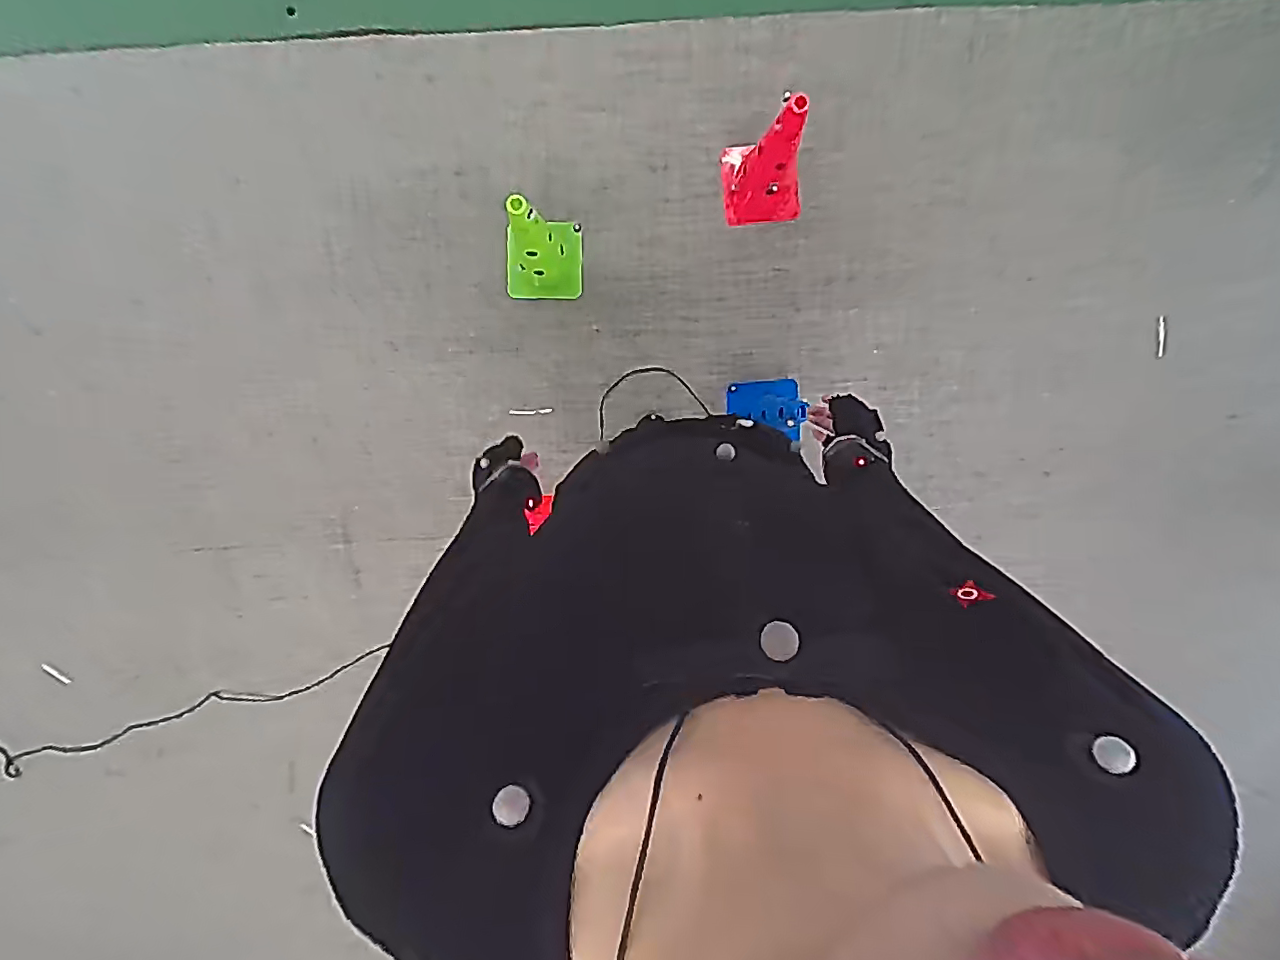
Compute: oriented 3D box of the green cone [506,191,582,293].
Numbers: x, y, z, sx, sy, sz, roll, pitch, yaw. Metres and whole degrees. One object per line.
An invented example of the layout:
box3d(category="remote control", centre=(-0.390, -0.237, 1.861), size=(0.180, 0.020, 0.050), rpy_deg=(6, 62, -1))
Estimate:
box3d(category="green cone", centre=(-0.256, -0.586, 1.268), size=(0.200, 0.368, 0.202), rpy_deg=(-1, 96, 0))
